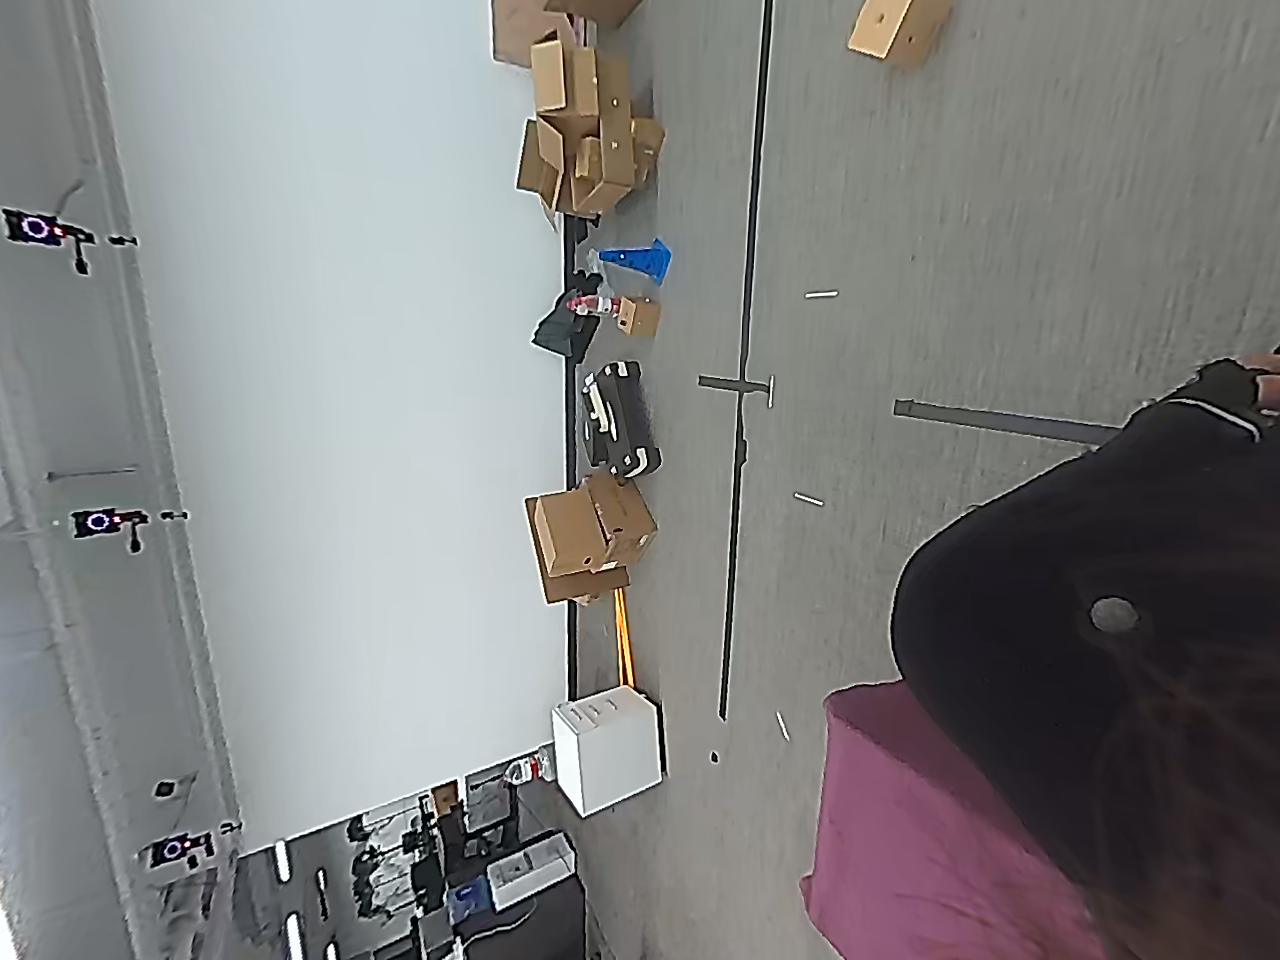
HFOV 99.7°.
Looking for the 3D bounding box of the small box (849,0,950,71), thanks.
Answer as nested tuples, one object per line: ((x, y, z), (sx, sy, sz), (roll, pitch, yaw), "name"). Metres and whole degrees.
((0.776, -1.354, 1.616), (0.179, 0.176, 0.168), (59, 143, 37), "small box")
